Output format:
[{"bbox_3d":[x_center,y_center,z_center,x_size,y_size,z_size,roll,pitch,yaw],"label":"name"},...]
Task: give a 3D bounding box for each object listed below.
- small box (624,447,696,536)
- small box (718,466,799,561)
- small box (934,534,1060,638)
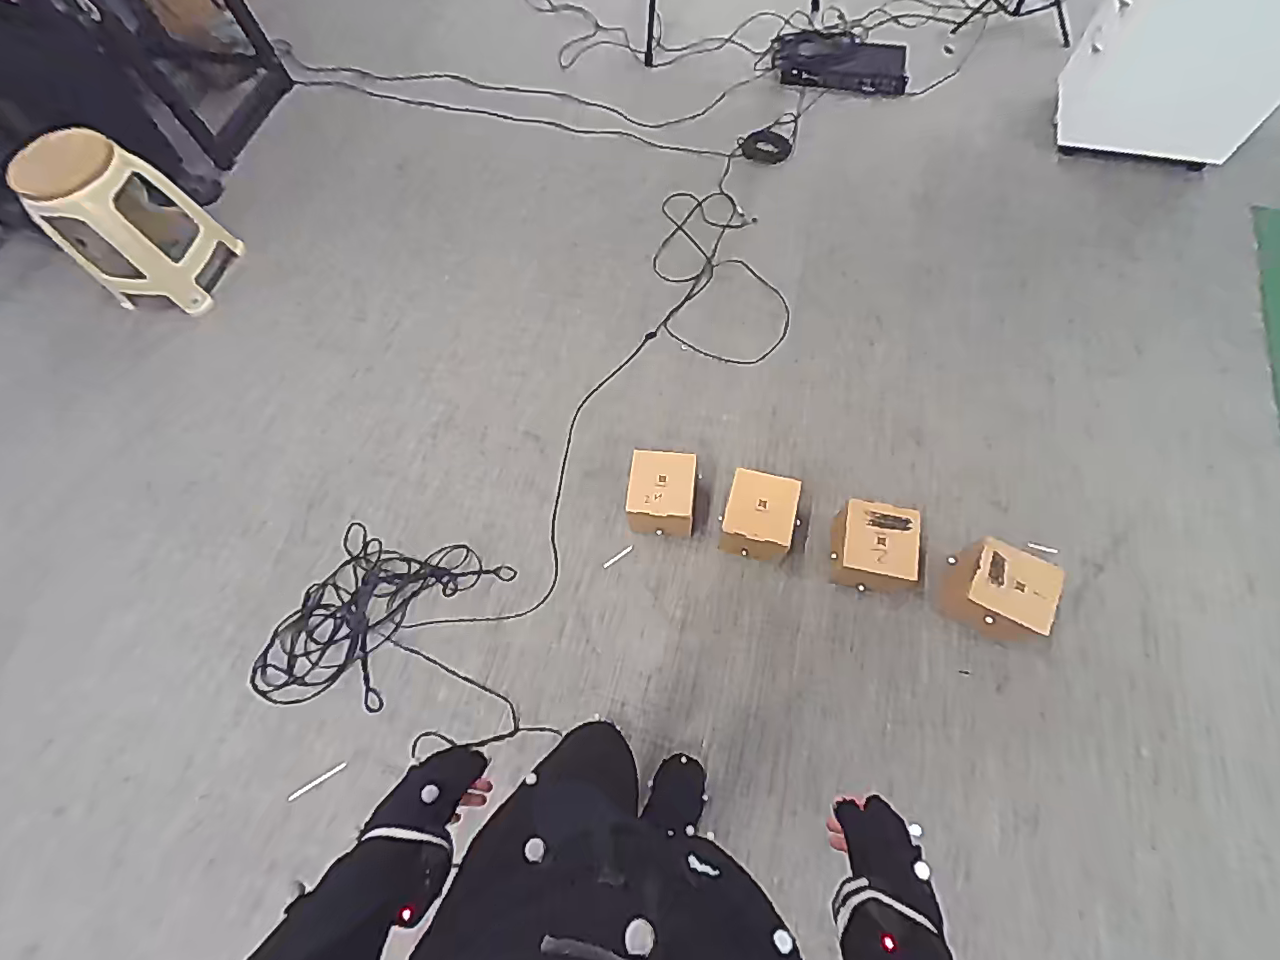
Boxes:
[{"bbox_3d":[0.057,0.033,1.435,0.168,0.176,0.179,5,67,7],"label":"small box"},{"bbox_3d":[0.299,0.090,1.394,0.168,0.176,0.179,13,68,10],"label":"small box"},{"bbox_3d":[0.833,0.257,1.278,0.179,0.176,0.168,27,71,14],"label":"small box"}]
